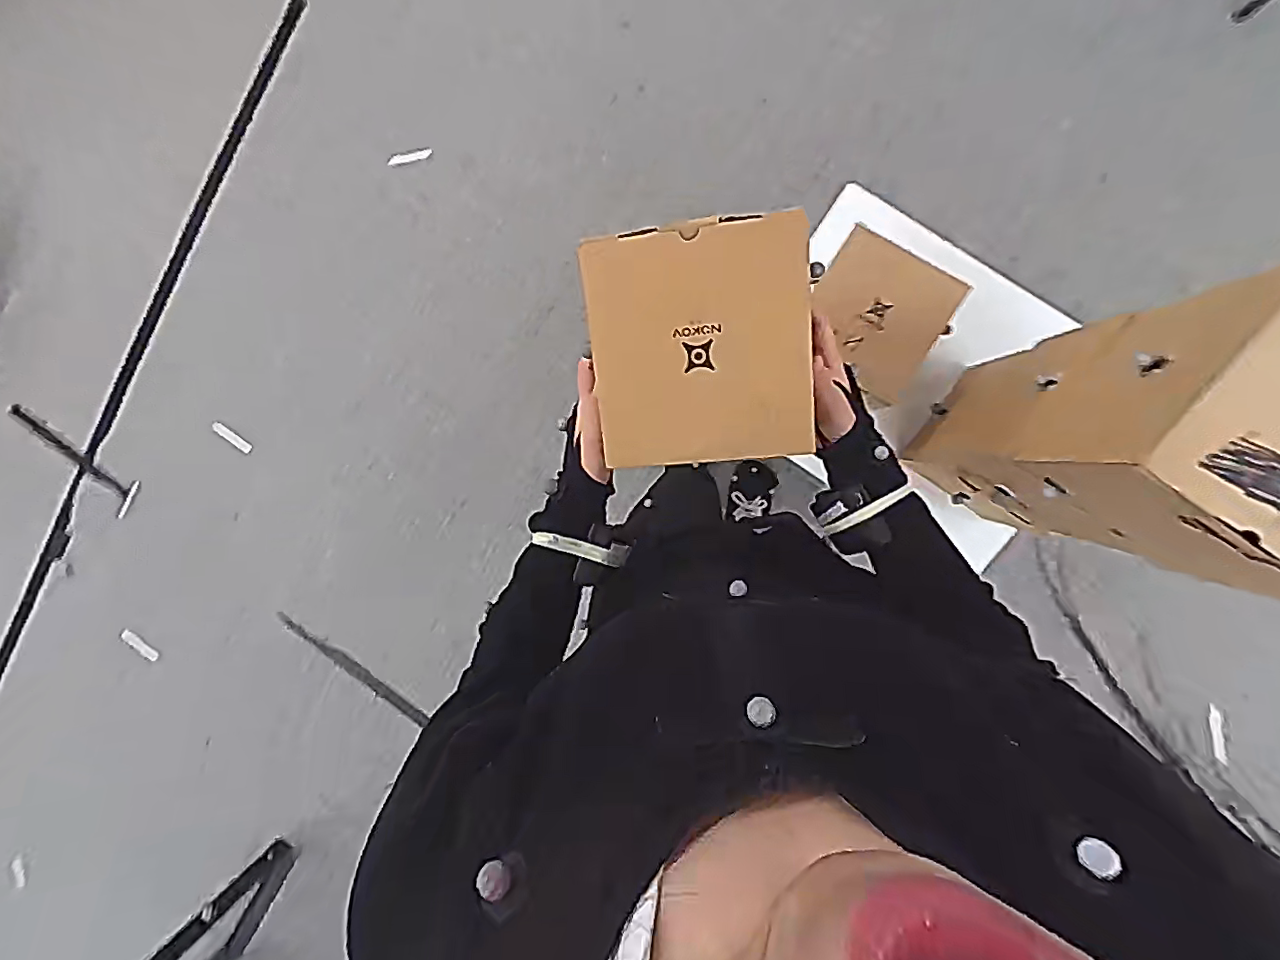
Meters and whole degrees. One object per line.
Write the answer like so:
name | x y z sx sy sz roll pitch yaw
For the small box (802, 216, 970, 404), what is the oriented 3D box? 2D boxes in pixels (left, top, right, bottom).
small box | 0.305 -0.222 0.758 0.168 0.176 0.179 33 99 4

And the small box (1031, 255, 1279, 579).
small box | 0.456 -0.039 0.419 0.168 0.176 0.179 38 97 5

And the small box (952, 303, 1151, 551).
small box | 0.481 -0.054 0.581 0.168 0.176 0.179 36 99 6

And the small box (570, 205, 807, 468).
small box | 0.050 -0.121 0.478 0.168 0.176 0.179 -6 105 9
